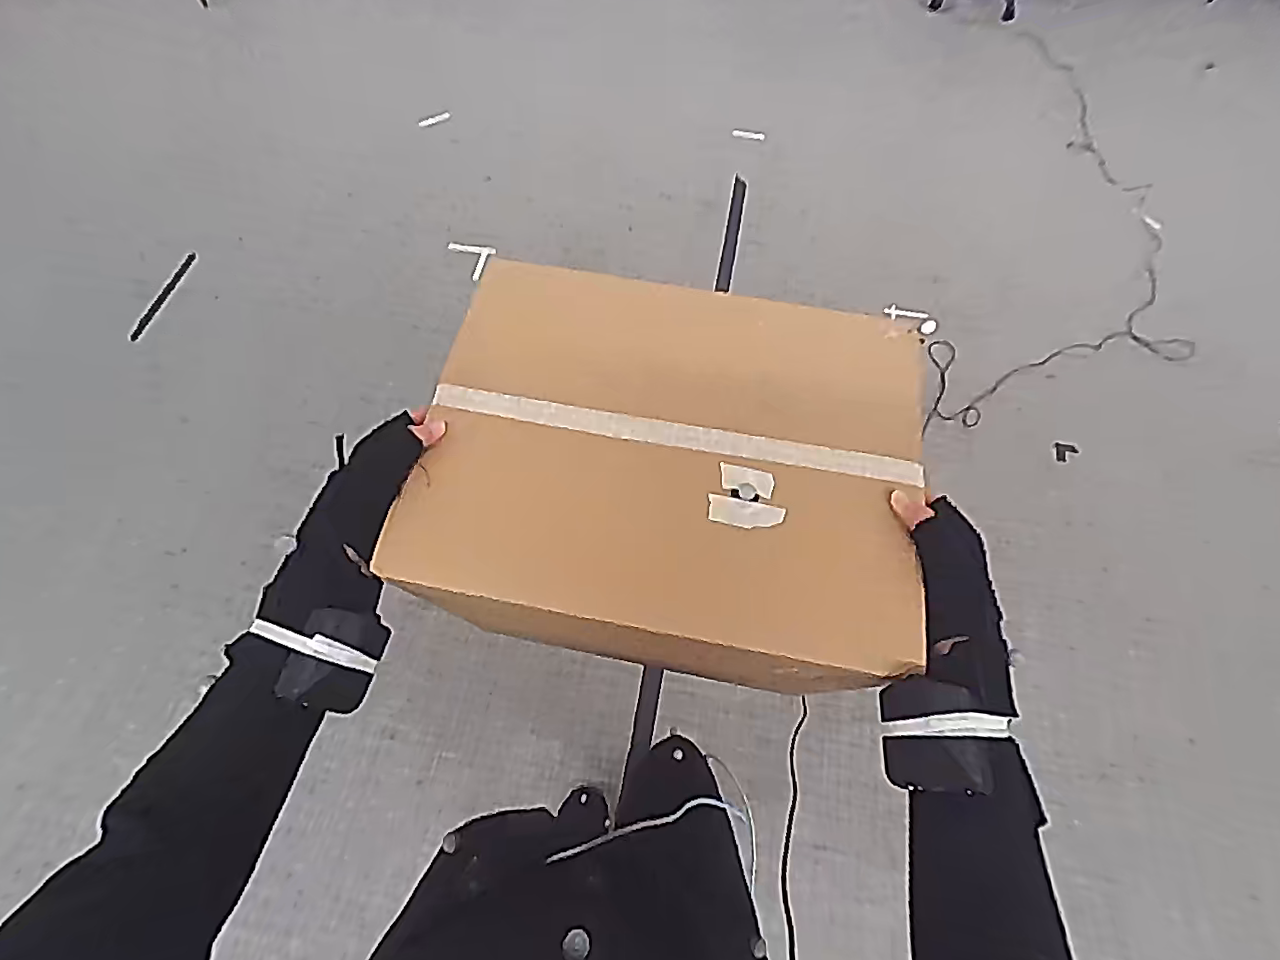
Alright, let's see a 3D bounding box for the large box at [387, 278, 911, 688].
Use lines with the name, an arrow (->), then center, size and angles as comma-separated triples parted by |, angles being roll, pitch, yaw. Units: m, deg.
large box -> 0.023, 0.029, 0.593 | 0.408, 0.320, 0.320 | 10, 68, 3
